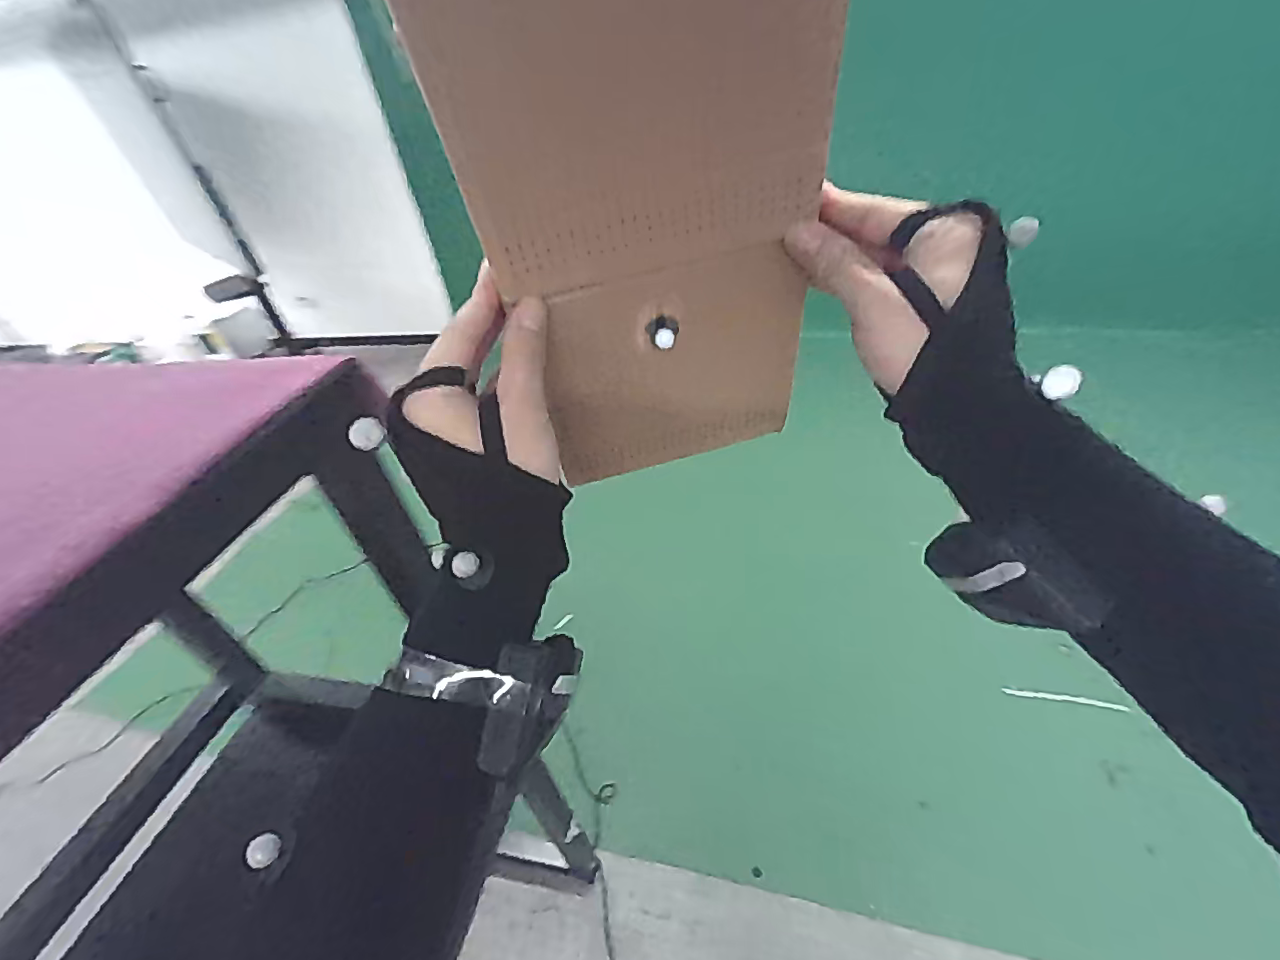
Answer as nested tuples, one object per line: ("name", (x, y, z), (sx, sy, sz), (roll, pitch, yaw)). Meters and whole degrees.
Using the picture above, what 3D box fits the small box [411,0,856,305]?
("small box", (-0.006, -0.212, 0.272), (0.179, 0.176, 0.168), (-13, 53, -2))

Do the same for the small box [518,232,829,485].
("small box", (0.014, -0.117, 0.401), (0.179, 0.176, 0.168), (-13, 53, -3))
